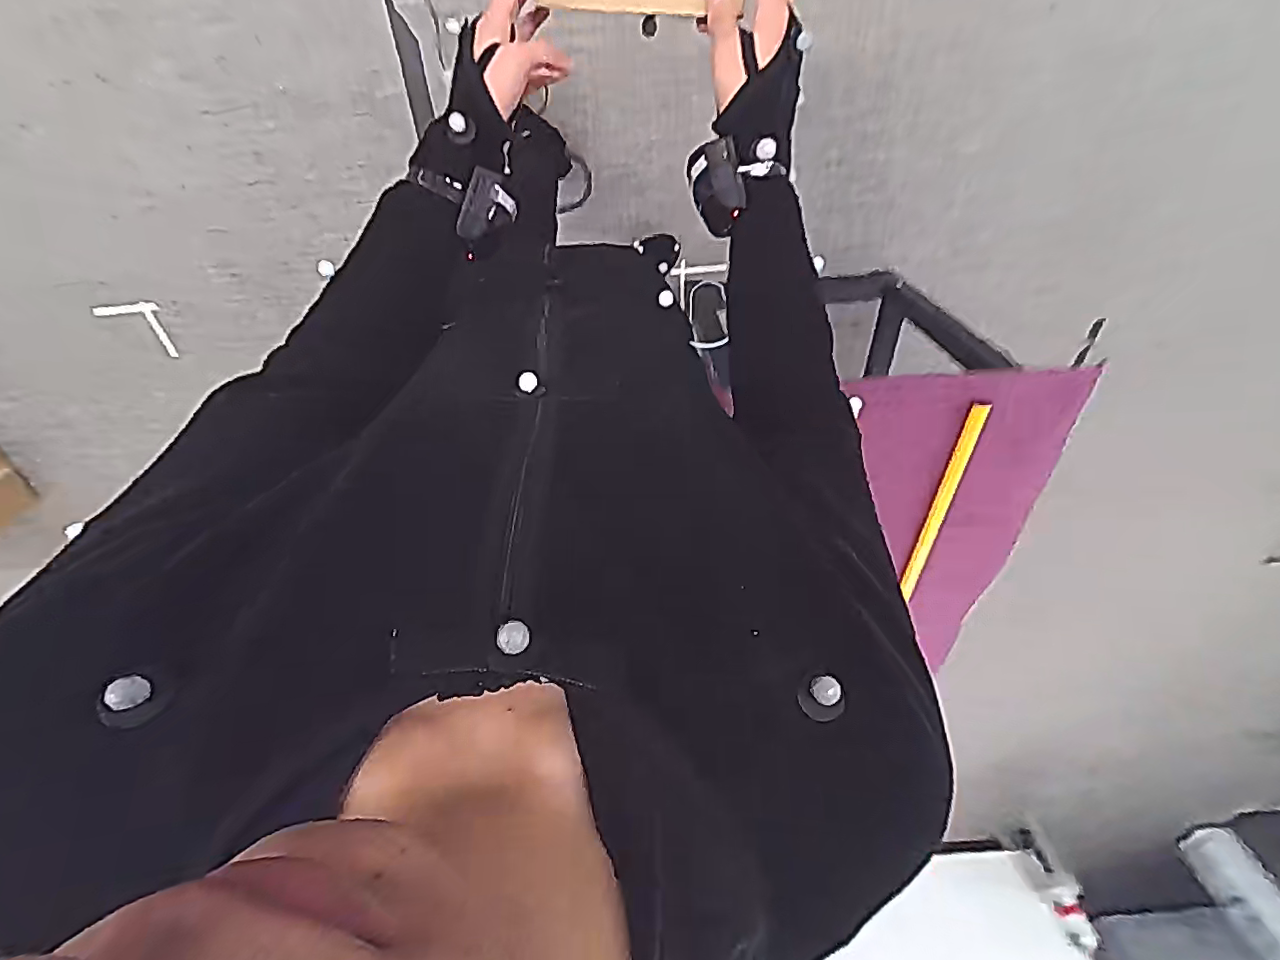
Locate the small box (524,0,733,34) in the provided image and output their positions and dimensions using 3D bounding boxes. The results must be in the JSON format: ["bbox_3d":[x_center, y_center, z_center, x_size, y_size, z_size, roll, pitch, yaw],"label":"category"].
[{"bbox_3d":[-0.002,-0.499,0.465,0.179,0.176,0.168,5,131,2],"label":"small box"}]
